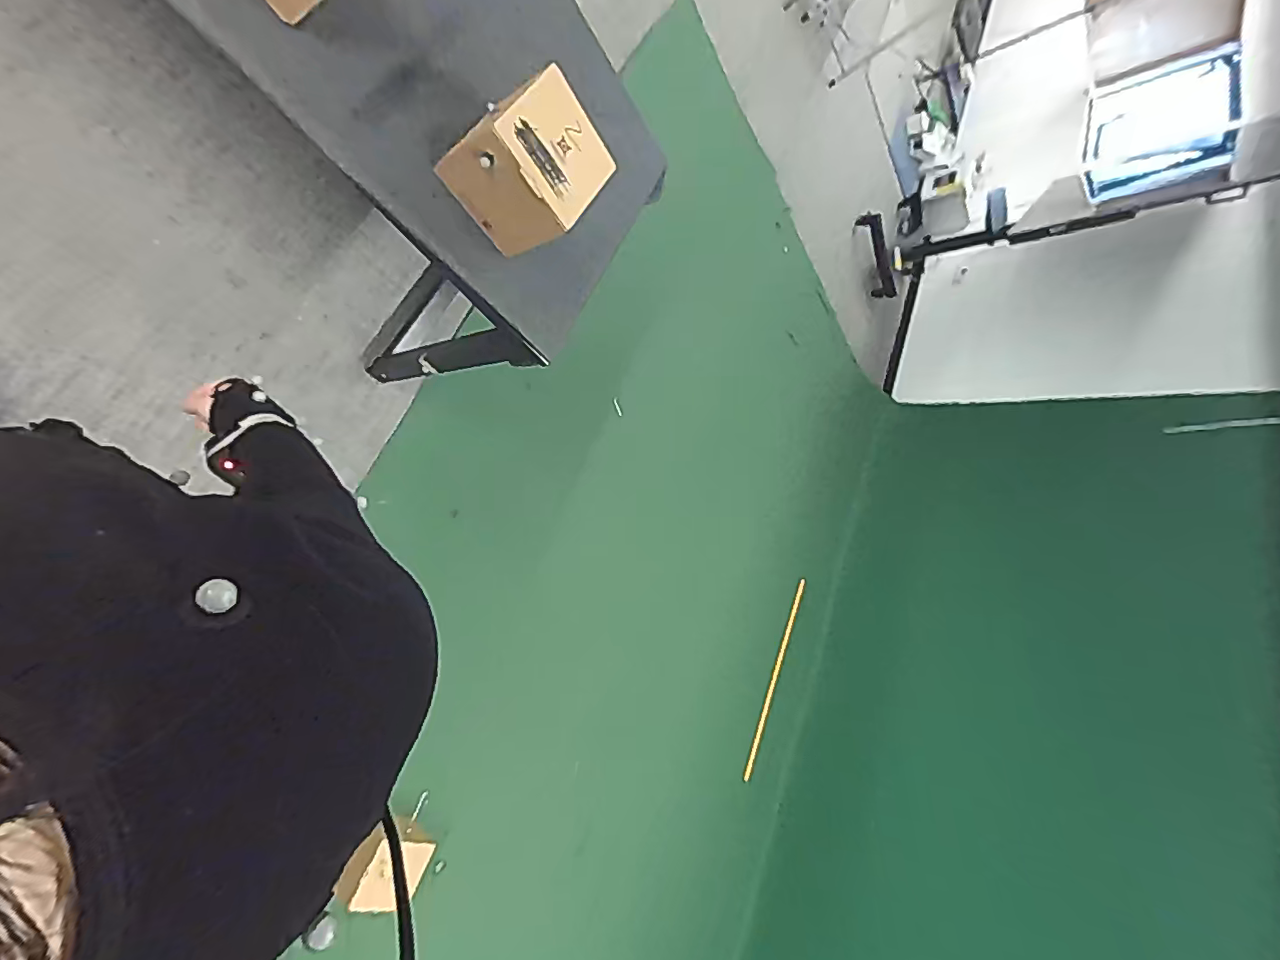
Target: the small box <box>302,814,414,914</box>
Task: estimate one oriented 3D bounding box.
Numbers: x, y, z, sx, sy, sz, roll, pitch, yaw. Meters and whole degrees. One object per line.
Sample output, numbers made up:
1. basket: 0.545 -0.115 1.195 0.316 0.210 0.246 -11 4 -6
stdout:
1. small box: -0.755 1.021 1.448 0.179 0.176 0.168 45 59 -43
